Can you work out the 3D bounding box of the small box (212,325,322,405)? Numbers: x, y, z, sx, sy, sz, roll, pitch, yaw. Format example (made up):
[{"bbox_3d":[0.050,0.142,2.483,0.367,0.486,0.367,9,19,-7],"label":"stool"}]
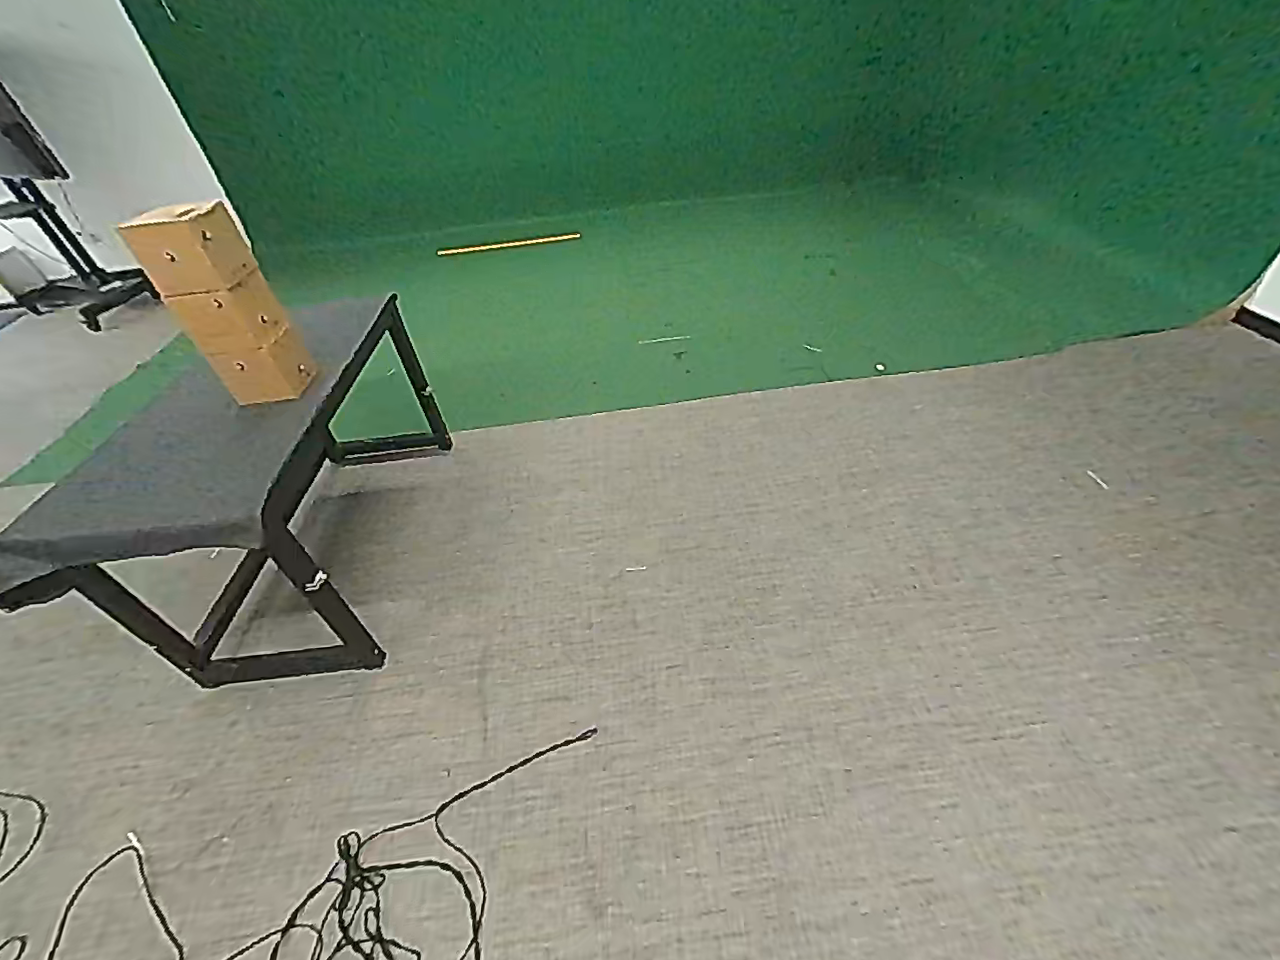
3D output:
[{"bbox_3d":[-1.088,-0.334,1.593,0.179,0.176,0.168,-7,42,1],"label":"small box"}]

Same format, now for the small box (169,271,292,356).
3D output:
[{"bbox_3d":[-1.114,-0.455,1.488,0.179,0.176,0.168,-6,41,2],"label":"small box"}]
